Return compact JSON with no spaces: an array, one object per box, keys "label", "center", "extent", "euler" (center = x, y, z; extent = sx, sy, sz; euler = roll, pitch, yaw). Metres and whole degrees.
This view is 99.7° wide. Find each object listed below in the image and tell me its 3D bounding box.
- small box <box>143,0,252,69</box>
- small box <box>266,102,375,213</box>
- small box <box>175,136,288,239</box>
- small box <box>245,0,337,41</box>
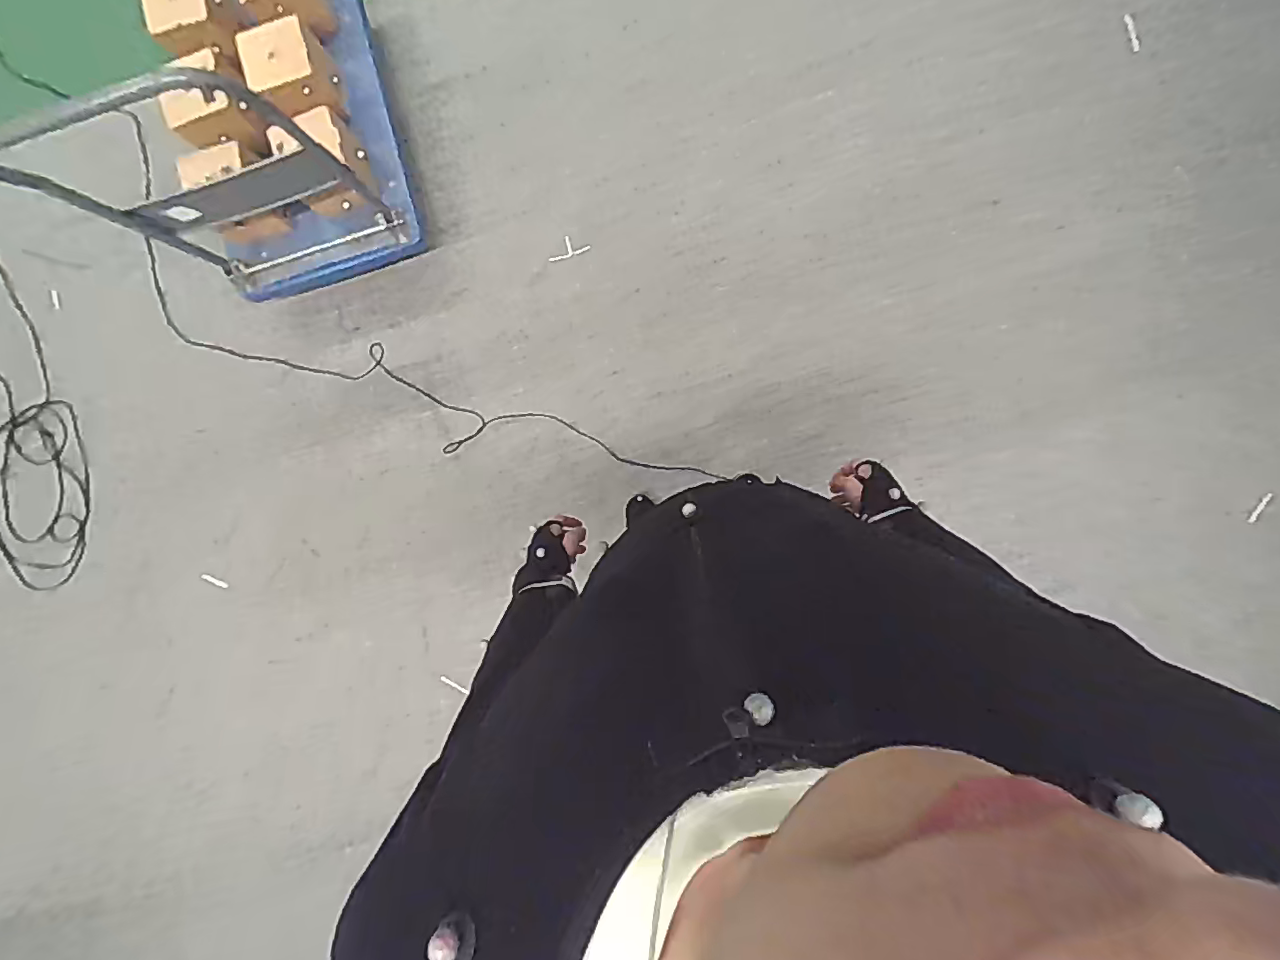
[{"label":"small box","center":[-1.206,-1.270,1.476],"extent":[0.168,0.176,0.179],"euler":[-12,90,3]},{"label":"small box","center":[-0.842,-0.856,1.450],"extent":[0.179,0.176,0.168],"euler":[-18,89,3]},{"label":"small box","center":[-1.096,-0.786,1.469],"extent":[0.179,0.176,0.168],"euler":[-13,89,5]},{"label":"small box","center":[-0.963,-1.337,1.454],"extent":[0.179,0.176,0.168],"euler":[-15,92,3]}]
